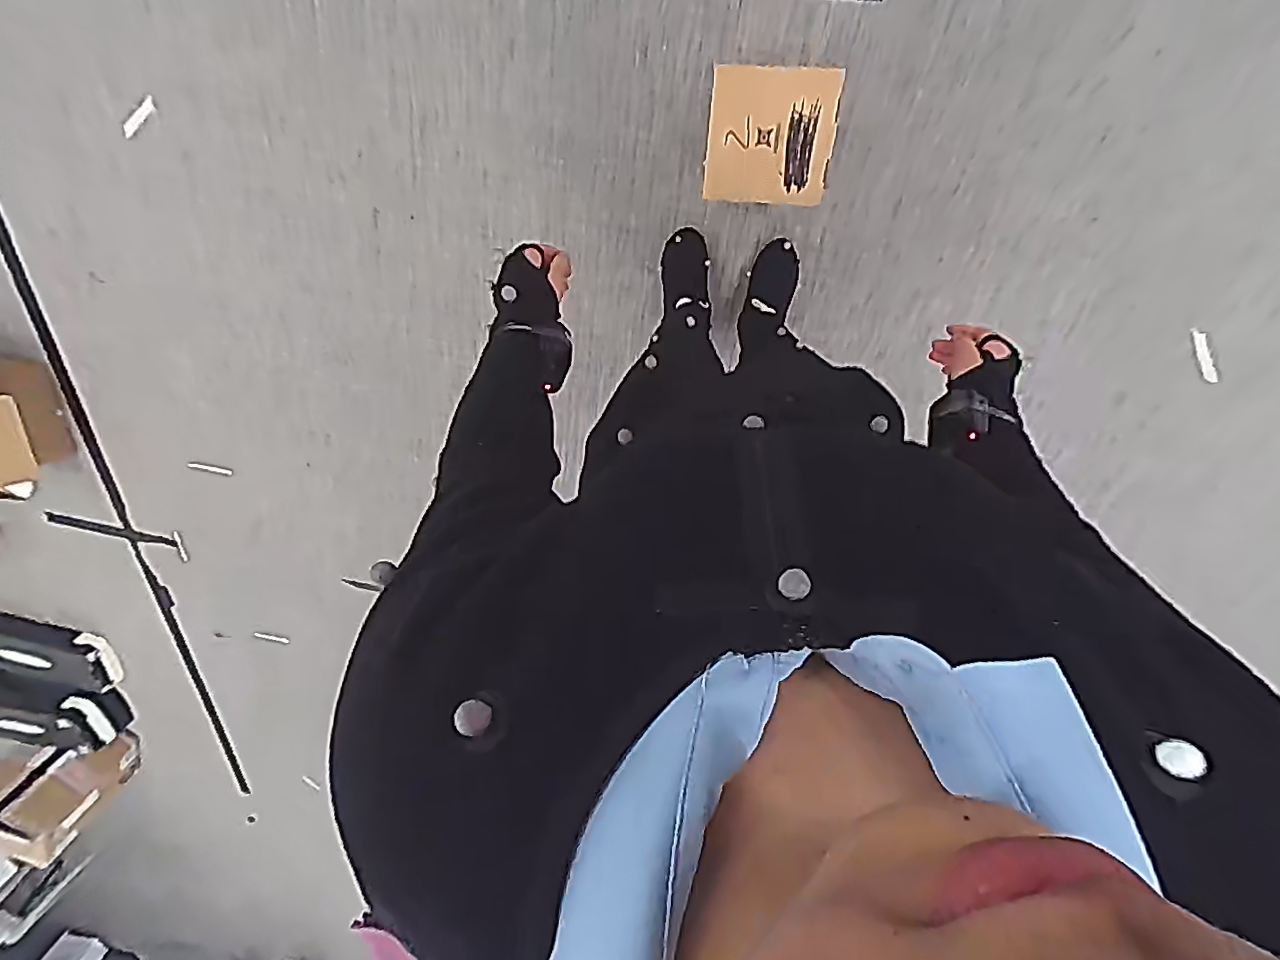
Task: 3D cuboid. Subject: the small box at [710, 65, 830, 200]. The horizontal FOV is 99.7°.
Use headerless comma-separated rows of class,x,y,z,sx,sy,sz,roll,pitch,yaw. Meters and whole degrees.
small box,0.219,-0.608,0.958,0.168,0.176,0.179,9,121,4
